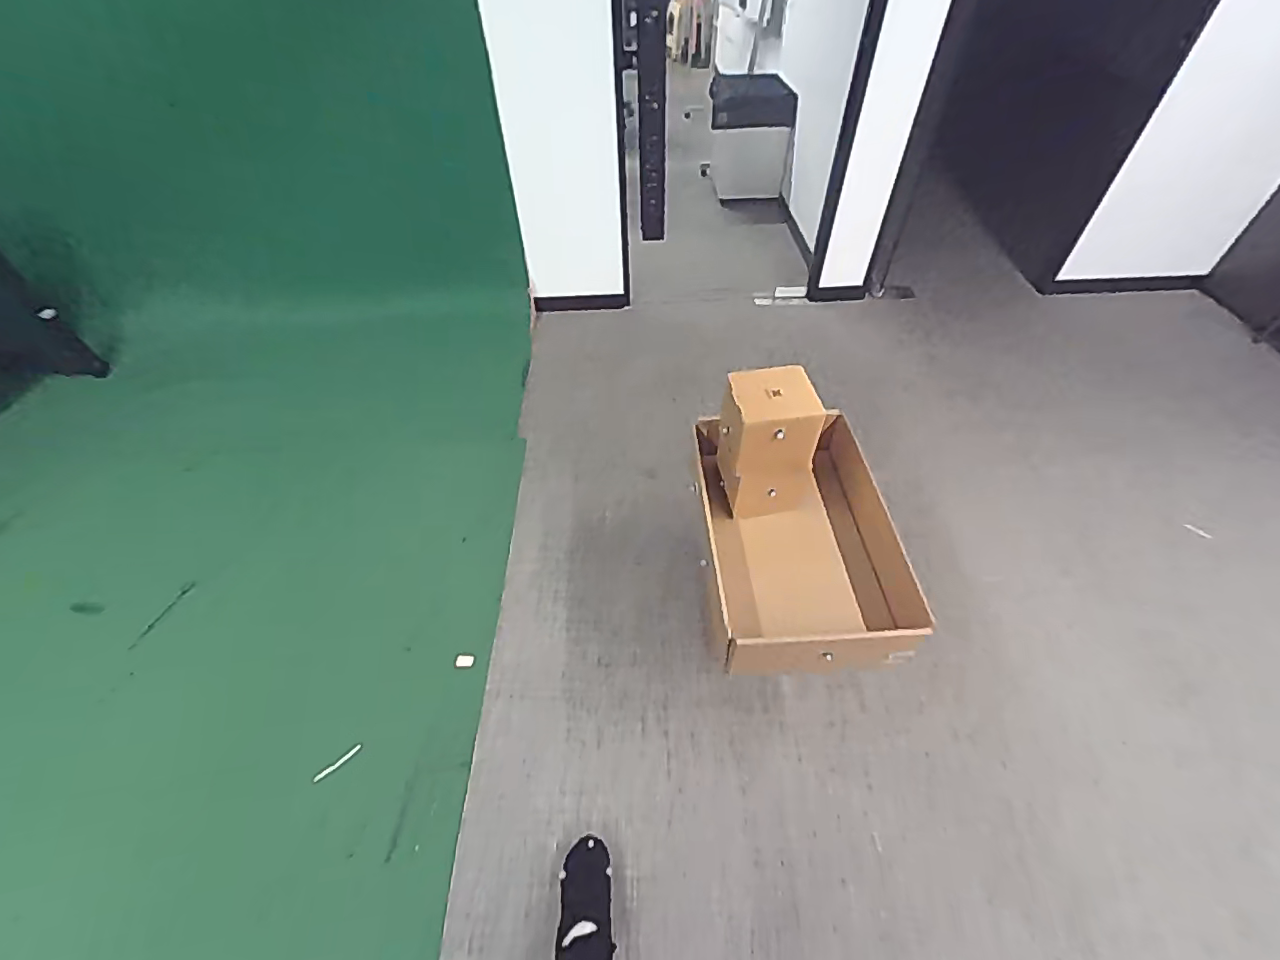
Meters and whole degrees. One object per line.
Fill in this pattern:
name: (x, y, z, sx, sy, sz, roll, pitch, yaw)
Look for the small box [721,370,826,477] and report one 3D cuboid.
small box: (0.290, -0.125, 1.218, 0.179, 0.176, 0.168, -7, 49, -3)
